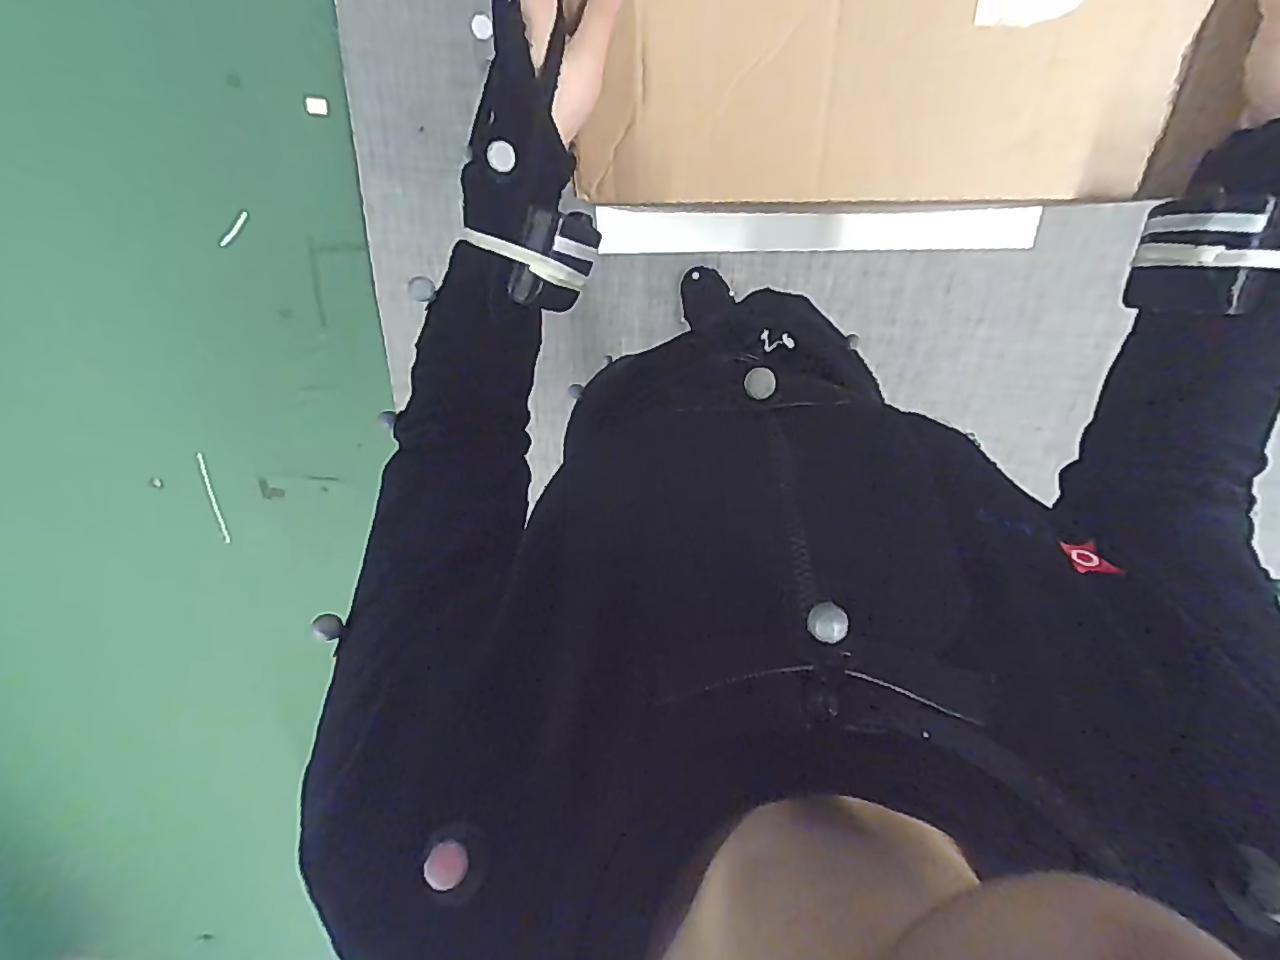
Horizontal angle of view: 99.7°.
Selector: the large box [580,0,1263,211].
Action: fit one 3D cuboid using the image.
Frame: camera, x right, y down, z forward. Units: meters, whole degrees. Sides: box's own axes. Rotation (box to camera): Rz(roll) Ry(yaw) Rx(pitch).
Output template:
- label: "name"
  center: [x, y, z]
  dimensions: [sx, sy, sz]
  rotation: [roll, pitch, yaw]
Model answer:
- label: "large box"
  center: [0.170, -0.399, 0.435]
  dimensions: [0.408, 0.320, 0.320]
  rotation: [2, 116, 5]
